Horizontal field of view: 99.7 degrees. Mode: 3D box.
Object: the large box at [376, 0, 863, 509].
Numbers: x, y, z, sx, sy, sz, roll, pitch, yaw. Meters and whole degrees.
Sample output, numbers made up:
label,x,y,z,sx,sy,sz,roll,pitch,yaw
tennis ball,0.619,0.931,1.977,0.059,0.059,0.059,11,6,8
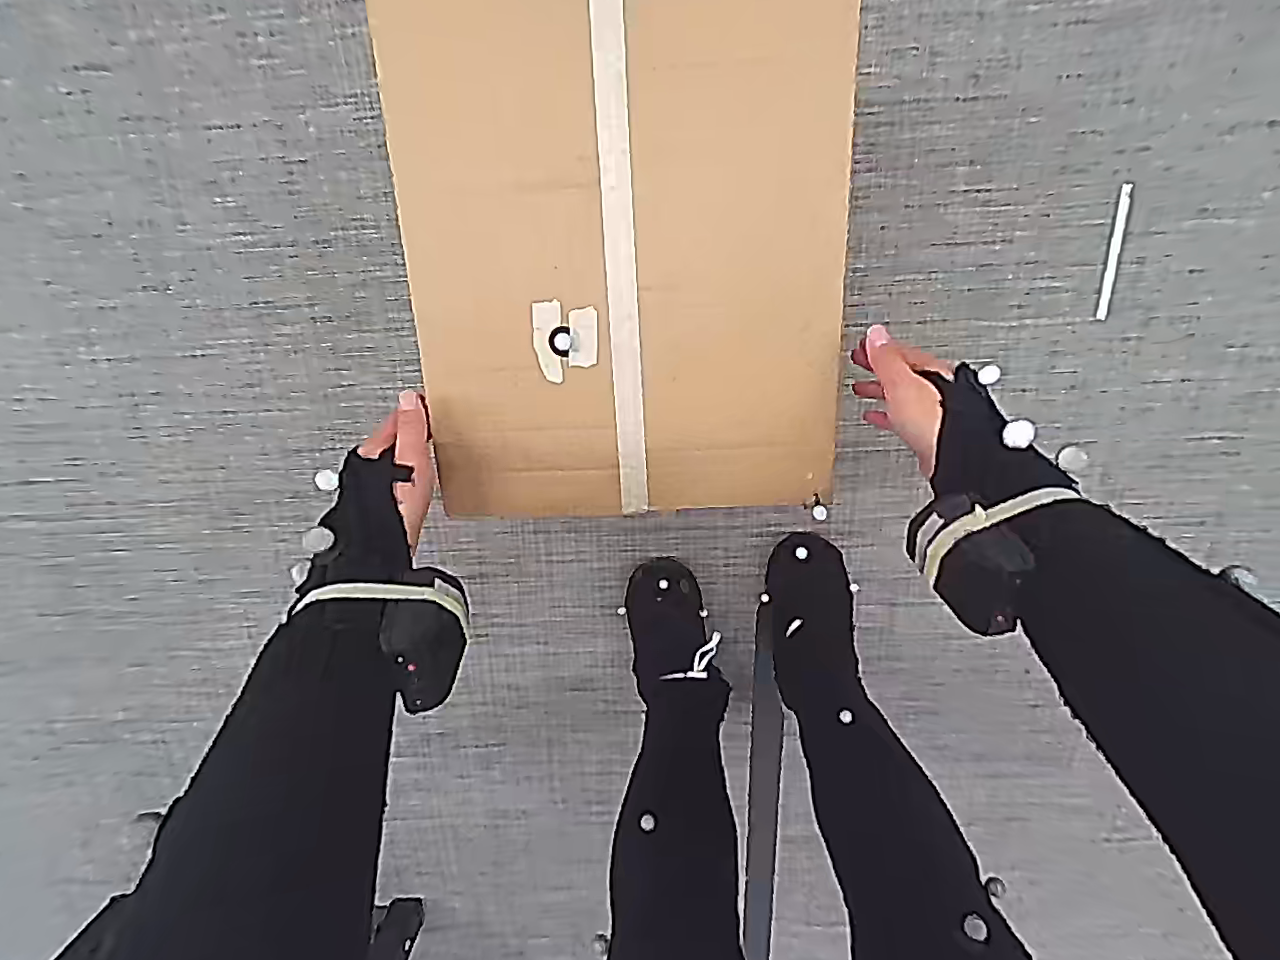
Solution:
label,x,y,z,sx,sy,sz,roll,pitch,yaw
large box,-0.001,-0.218,0.522,0.320,0.320,0.408,-3,107,3
